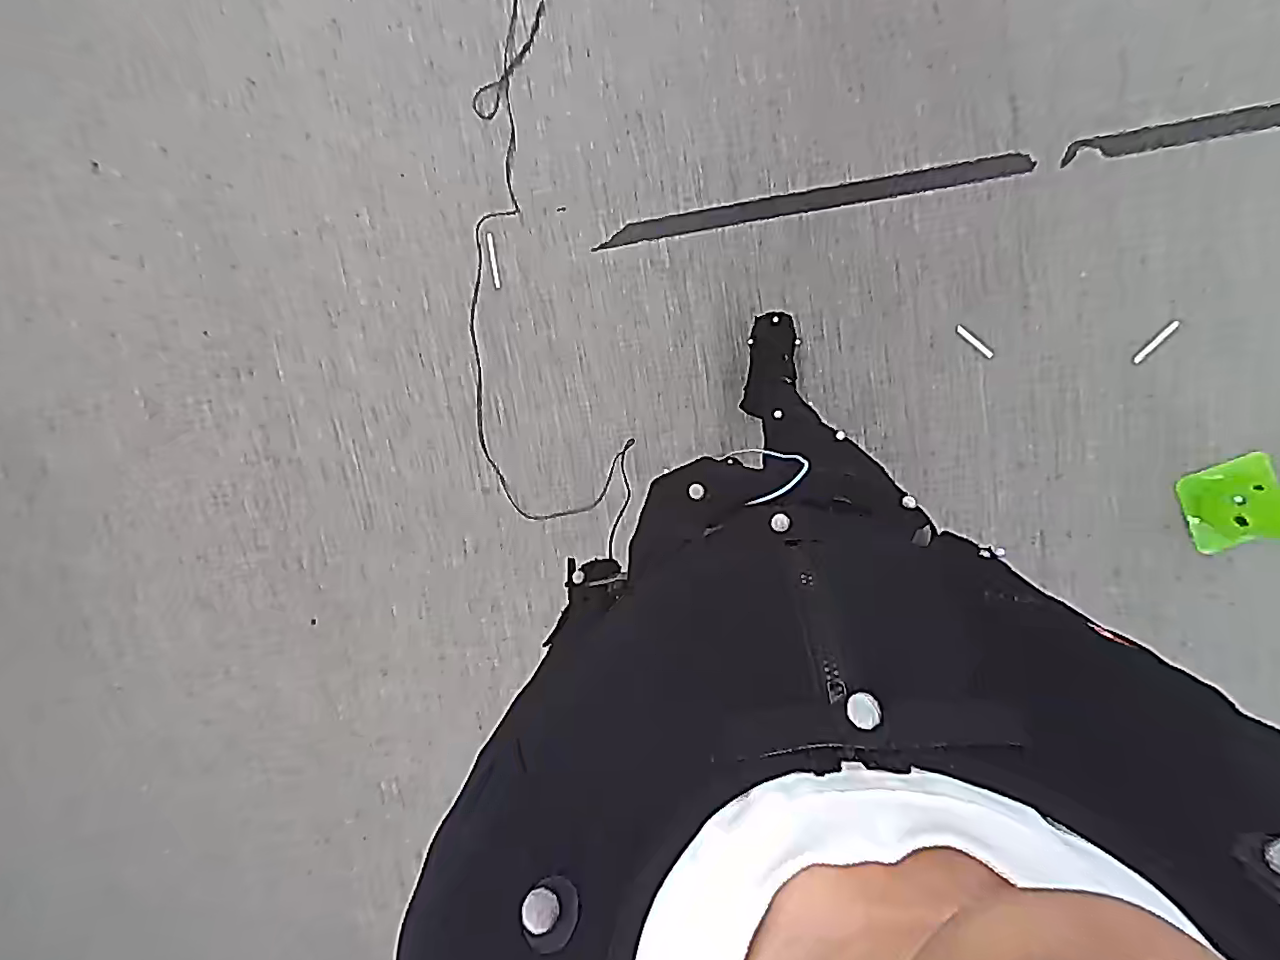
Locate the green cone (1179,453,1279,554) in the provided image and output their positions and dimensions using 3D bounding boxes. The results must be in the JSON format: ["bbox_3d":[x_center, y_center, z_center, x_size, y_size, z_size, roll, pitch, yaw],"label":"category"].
[{"bbox_3d":[1.380,0.082,1.105,0.202,0.368,0.200,-23,94,11],"label":"green cone"}]
